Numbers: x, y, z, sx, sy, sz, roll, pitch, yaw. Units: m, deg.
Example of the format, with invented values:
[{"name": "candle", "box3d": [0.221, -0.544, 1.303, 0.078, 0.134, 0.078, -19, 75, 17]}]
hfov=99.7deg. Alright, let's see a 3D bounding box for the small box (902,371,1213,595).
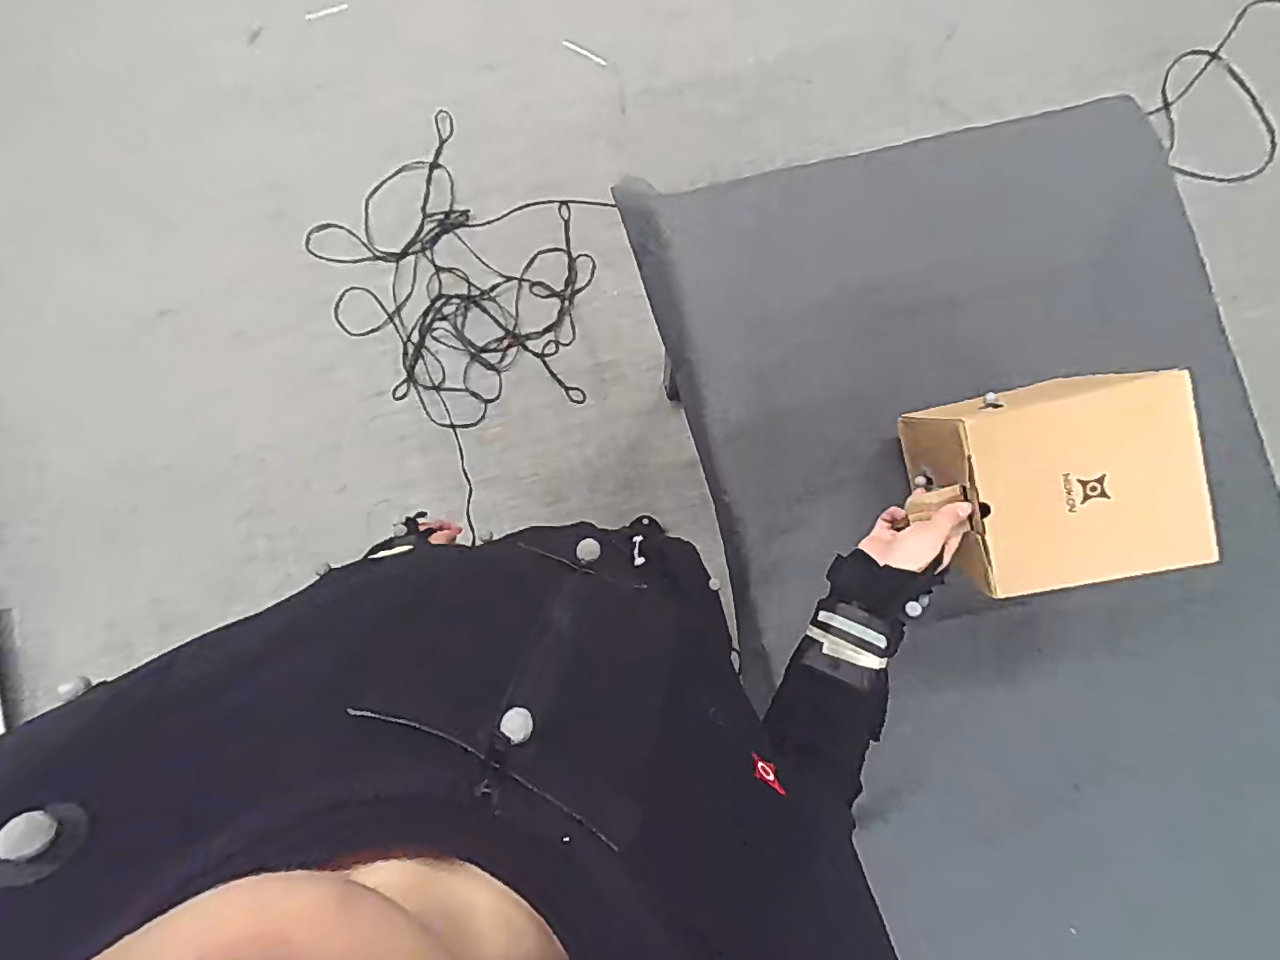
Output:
[{"name": "small box", "box3d": [0.392, -0.005, 0.539, 0.179, 0.176, 0.168, -14, 95, 10]}]
